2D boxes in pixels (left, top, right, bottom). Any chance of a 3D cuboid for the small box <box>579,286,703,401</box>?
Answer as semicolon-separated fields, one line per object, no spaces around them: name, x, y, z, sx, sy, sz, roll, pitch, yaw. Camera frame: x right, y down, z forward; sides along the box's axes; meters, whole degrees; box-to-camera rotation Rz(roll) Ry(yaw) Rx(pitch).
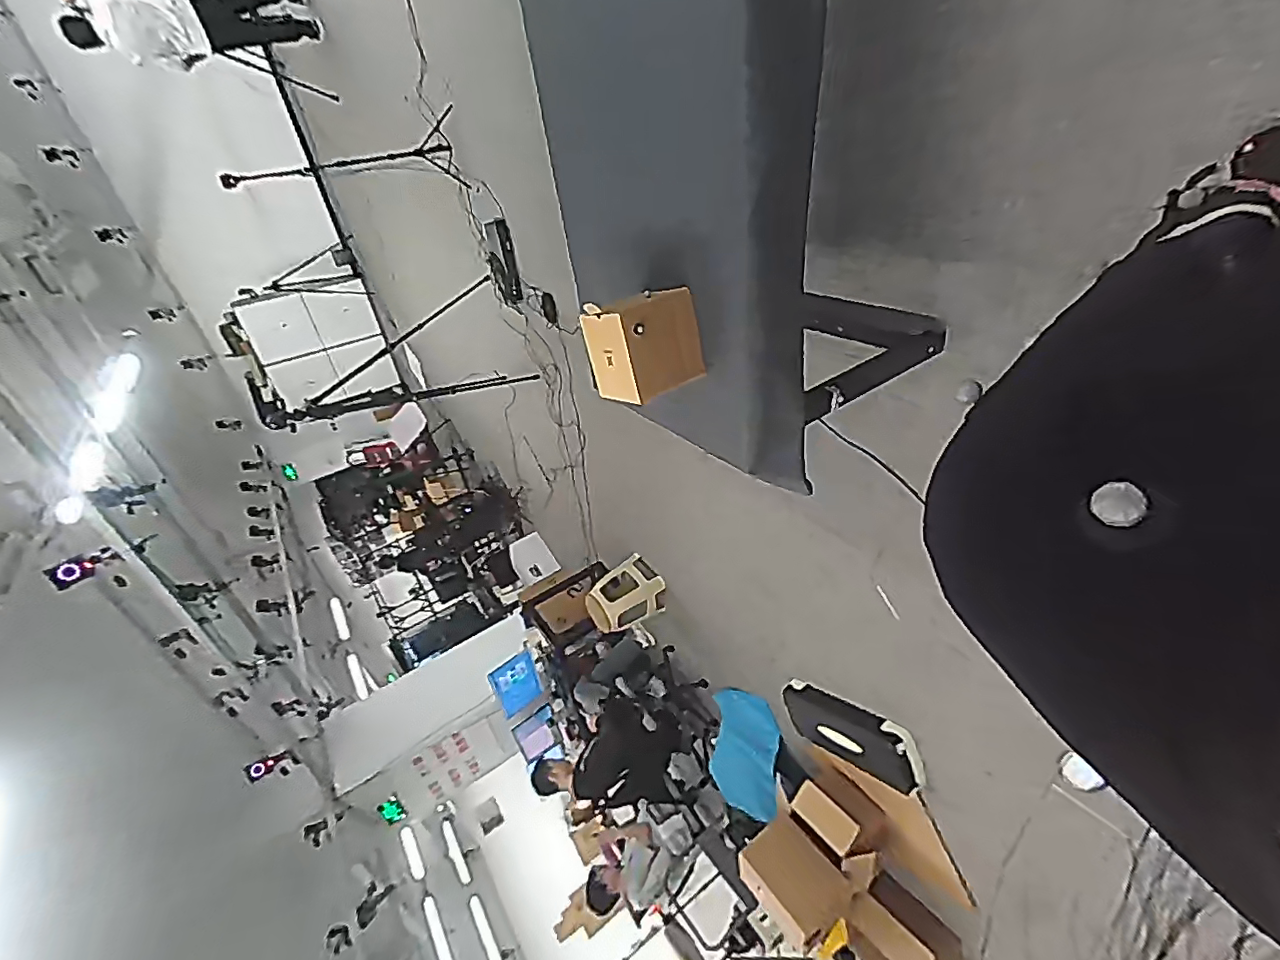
small box;0.006;-0.274;1.078;0.168;0.176;0.179;22;132;55
